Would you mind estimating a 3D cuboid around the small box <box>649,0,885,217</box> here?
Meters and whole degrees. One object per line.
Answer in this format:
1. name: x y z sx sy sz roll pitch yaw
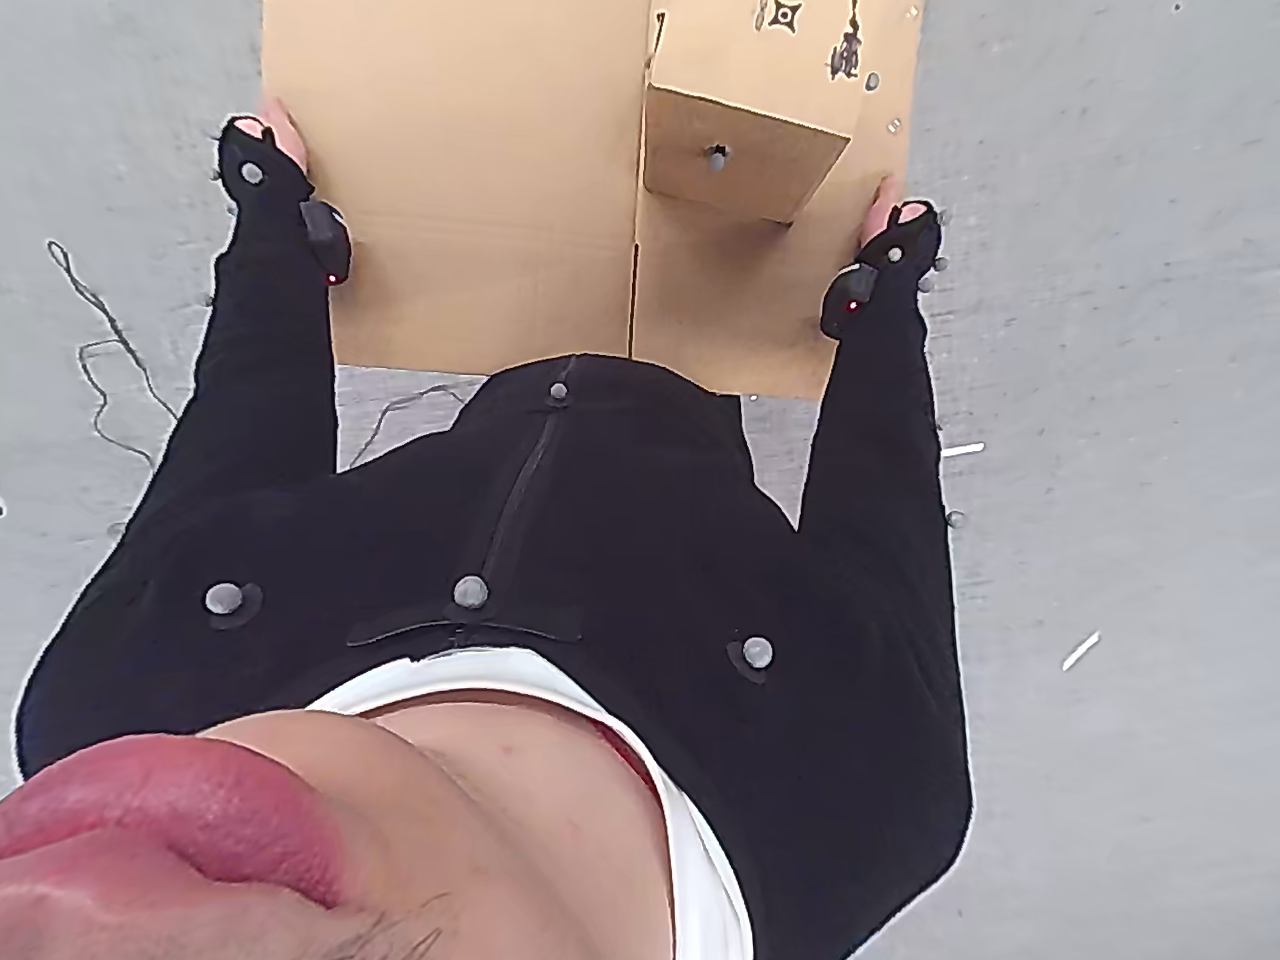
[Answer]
1. small box: 0.111 -0.385 0.526 0.179 0.176 0.168 14 93 0
